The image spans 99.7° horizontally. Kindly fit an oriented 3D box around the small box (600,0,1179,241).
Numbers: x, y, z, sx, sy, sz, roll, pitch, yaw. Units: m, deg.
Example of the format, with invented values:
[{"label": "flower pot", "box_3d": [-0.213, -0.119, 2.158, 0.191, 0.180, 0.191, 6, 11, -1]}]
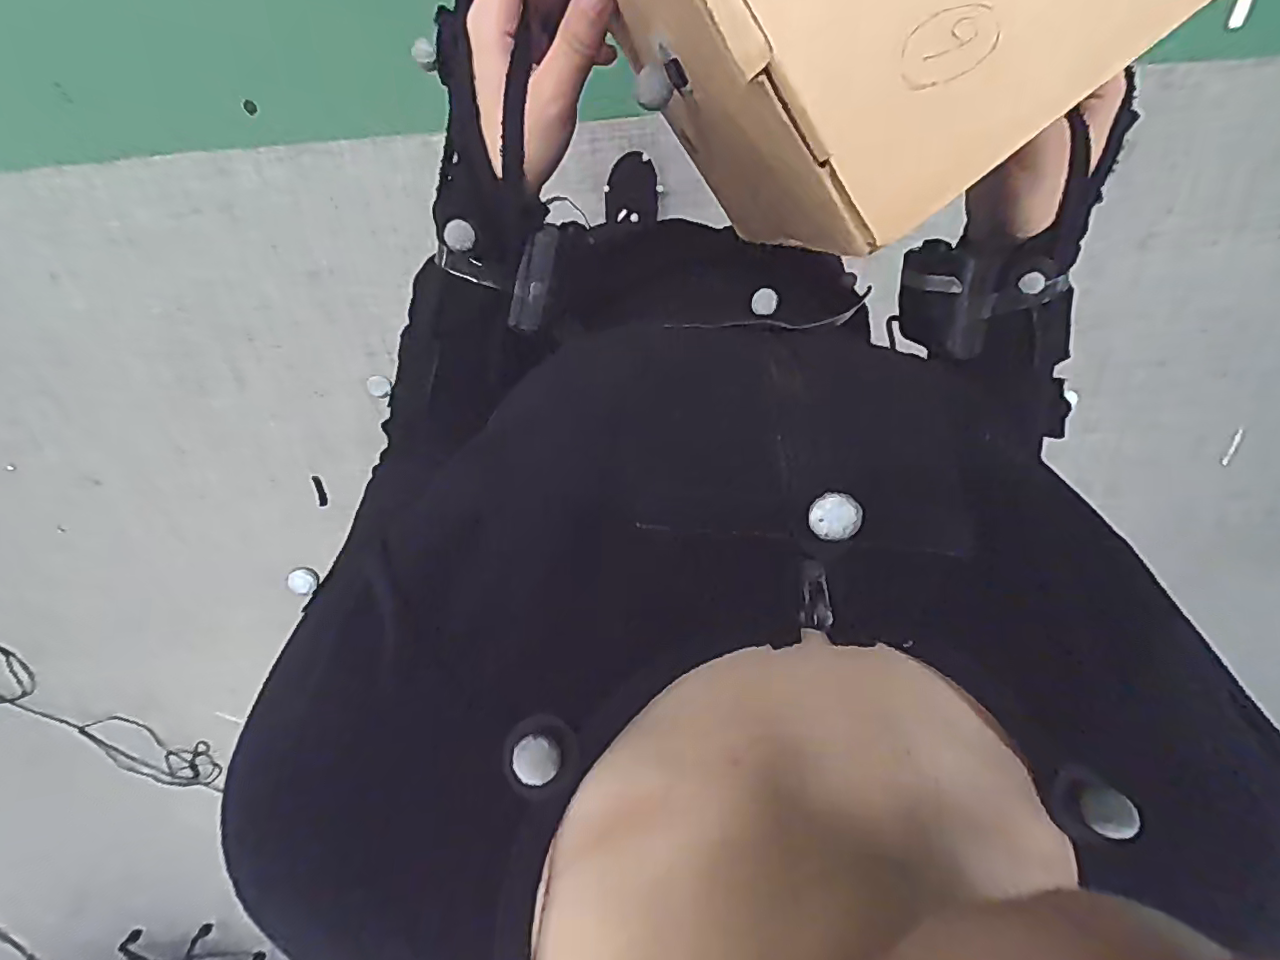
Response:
[{"label": "small box", "box_3d": [0.078, -0.208, 0.186, 0.179, 0.176, 0.168, -36, 112, 14]}]
